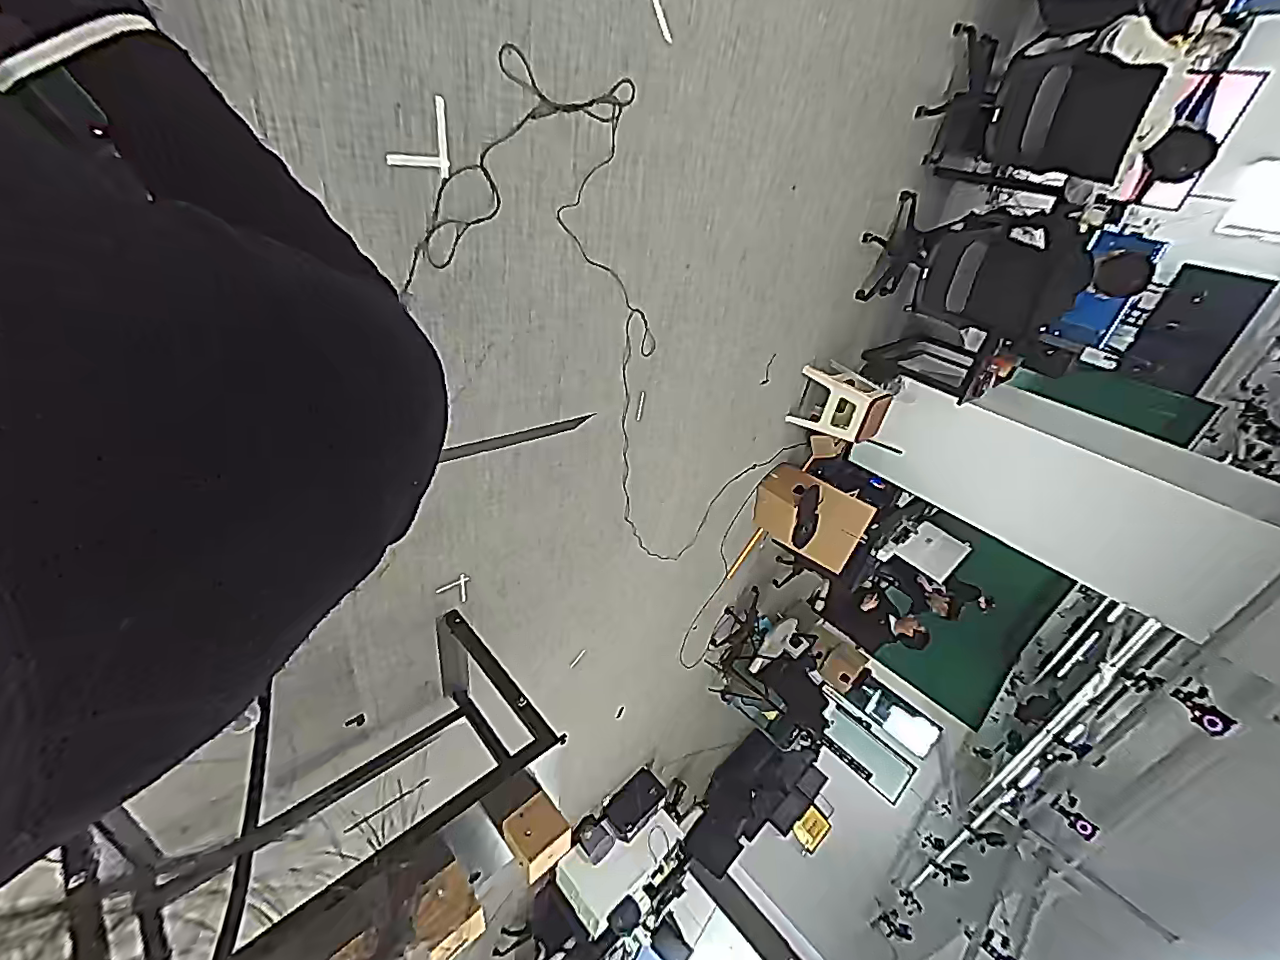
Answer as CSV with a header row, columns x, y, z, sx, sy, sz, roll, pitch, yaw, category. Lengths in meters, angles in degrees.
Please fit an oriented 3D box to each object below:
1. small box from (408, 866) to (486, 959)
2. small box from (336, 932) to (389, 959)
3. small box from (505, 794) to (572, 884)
x,y,z,sx,sy,sz,roll,pitch,yaw,category
-0.588,1.333,1.649,0.168,0.176,0.179,-24,135,-39,small box
-0.773,1.403,1.480,0.179,0.176,0.168,-22,135,-41,small box
-0.349,1.221,1.852,0.168,0.176,0.179,-25,137,-36,small box
